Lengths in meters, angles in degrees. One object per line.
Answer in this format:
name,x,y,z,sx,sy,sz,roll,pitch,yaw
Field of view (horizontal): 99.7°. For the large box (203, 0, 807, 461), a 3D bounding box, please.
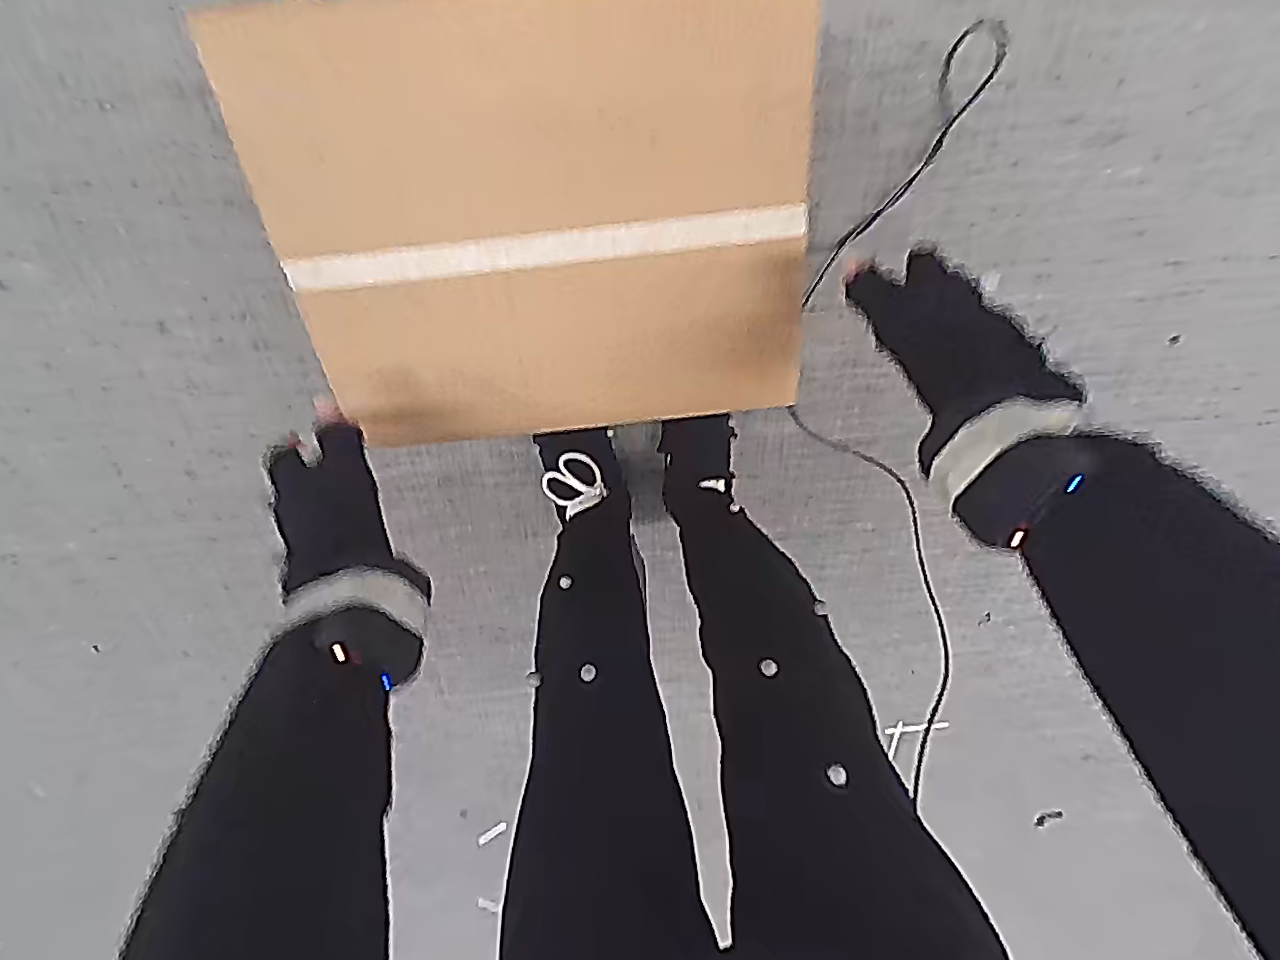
large box,-0.080,-0.248,0.551,0.408,0.320,0.320,-7,121,-1
